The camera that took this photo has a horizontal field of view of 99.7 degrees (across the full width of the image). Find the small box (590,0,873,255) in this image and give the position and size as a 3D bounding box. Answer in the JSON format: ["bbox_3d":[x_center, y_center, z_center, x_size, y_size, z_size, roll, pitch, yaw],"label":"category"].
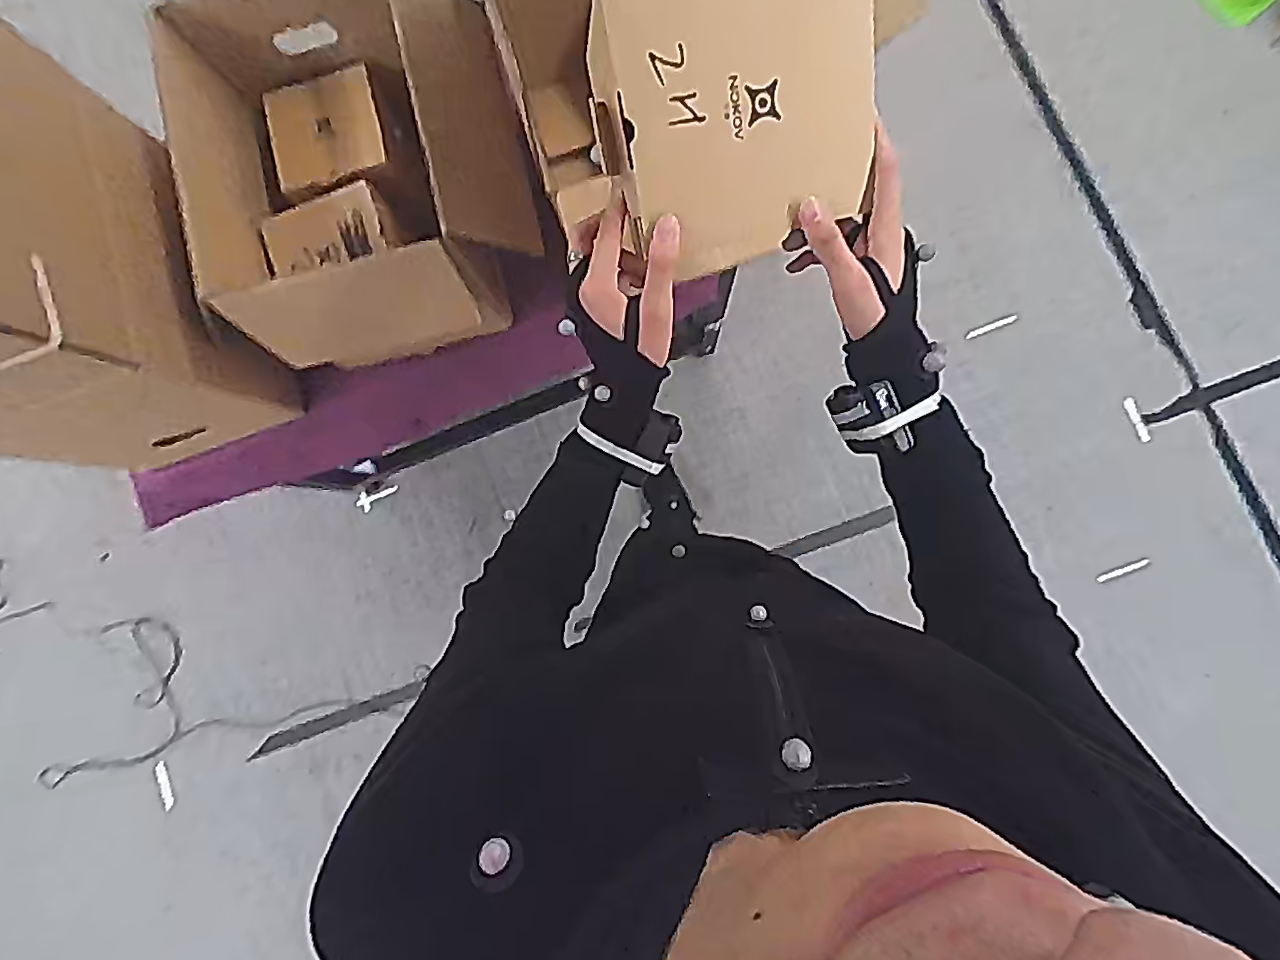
[{"bbox_3d":[0.063,-0.290,0.435,0.179,0.176,0.168,-13,116,-1],"label":"small box"}]
